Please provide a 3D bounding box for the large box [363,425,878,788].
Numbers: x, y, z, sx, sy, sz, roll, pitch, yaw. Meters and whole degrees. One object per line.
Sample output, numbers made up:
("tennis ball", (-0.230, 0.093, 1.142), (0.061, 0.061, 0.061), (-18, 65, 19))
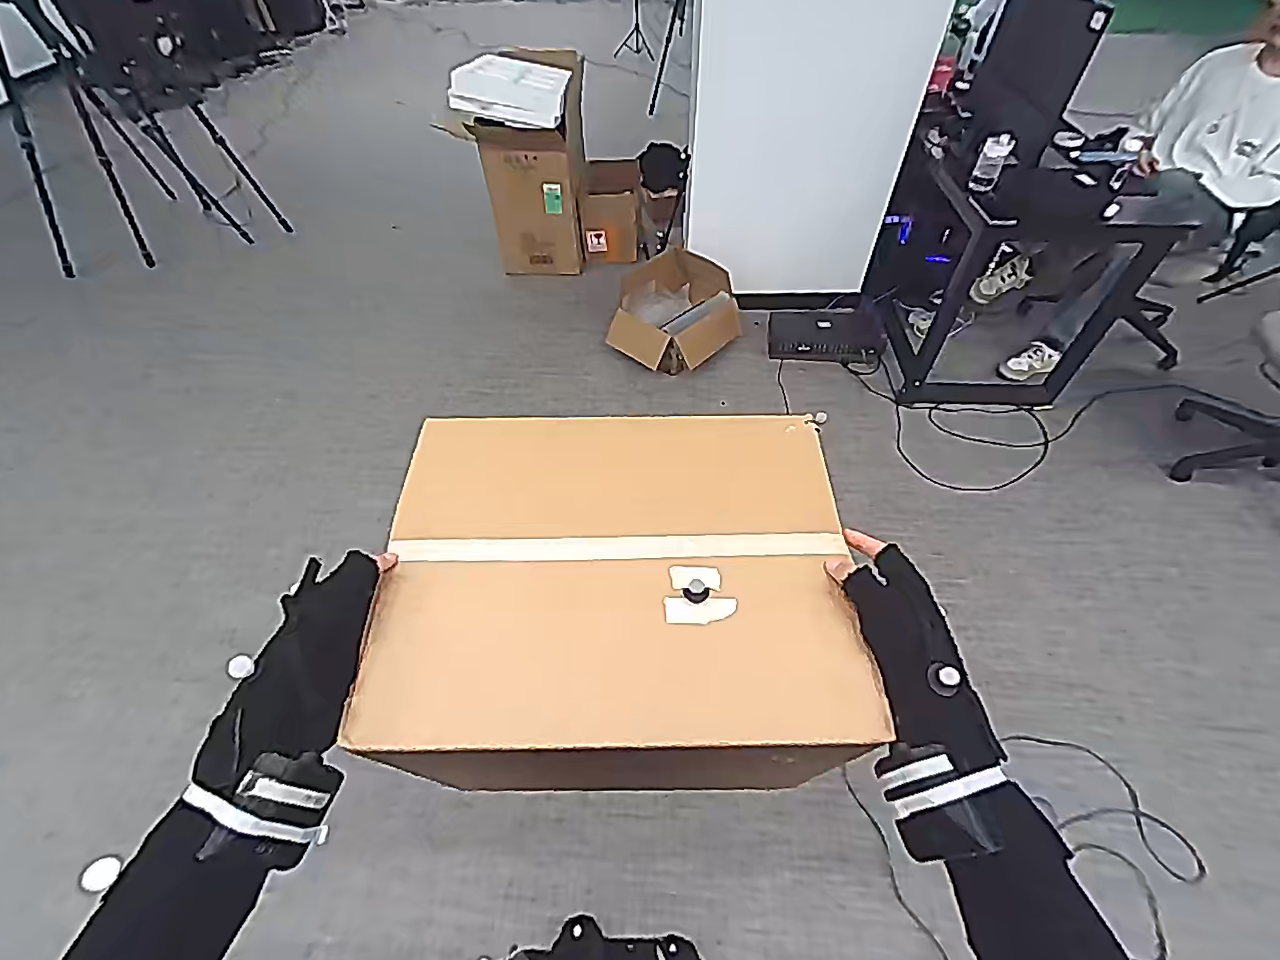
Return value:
("large box", (-0.018, 0.153, 0.617), (0.408, 0.320, 0.320), (0, 55, -1))
